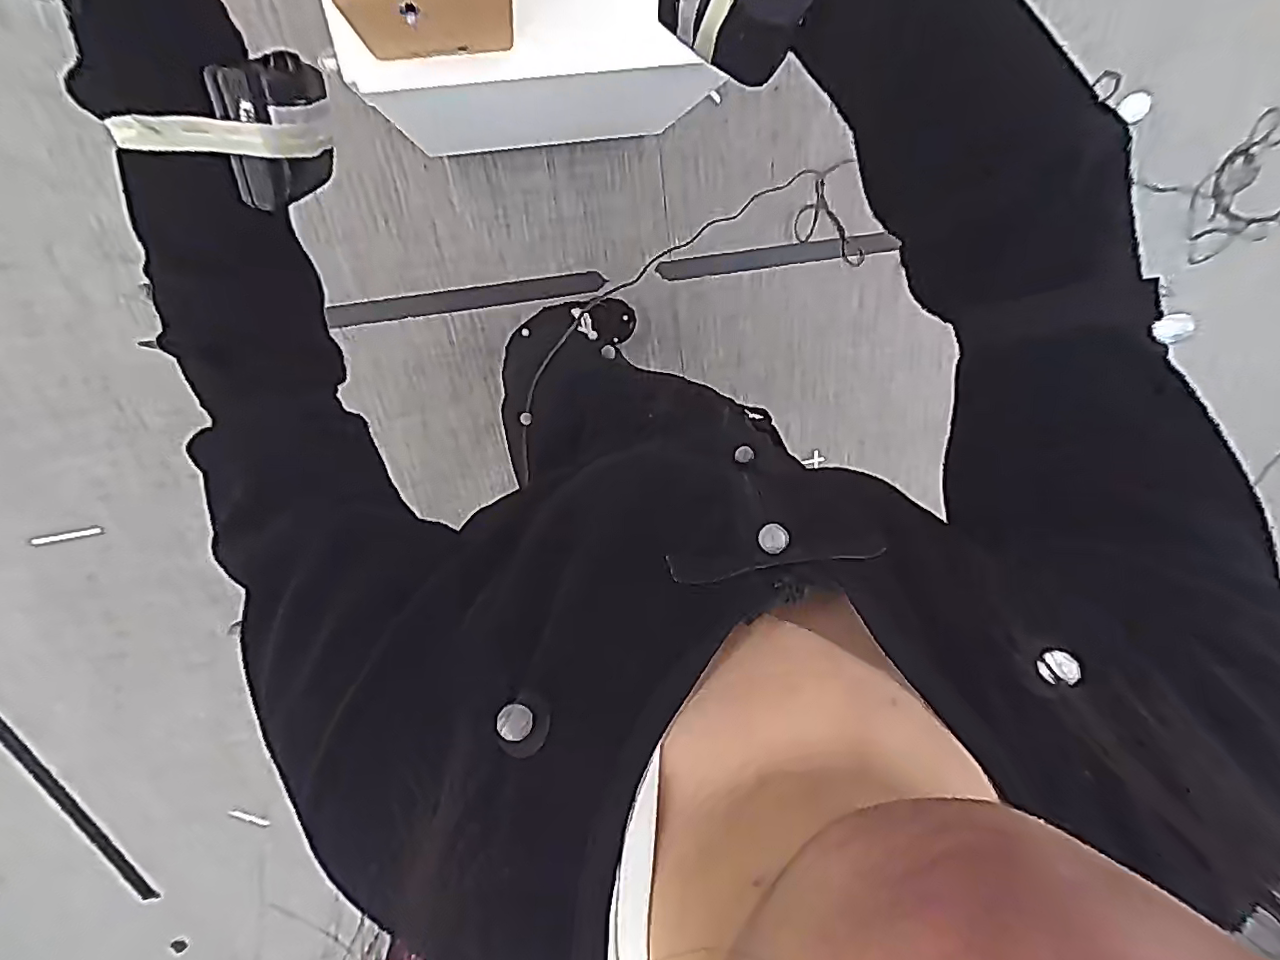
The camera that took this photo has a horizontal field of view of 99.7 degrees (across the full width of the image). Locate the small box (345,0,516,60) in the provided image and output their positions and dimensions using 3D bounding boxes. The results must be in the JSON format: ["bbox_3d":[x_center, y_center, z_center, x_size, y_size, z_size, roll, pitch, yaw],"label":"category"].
[{"bbox_3d":[-0.222,-0.554,0.535,0.168,0.176,0.179,-11,114,-8],"label":"small box"}]
